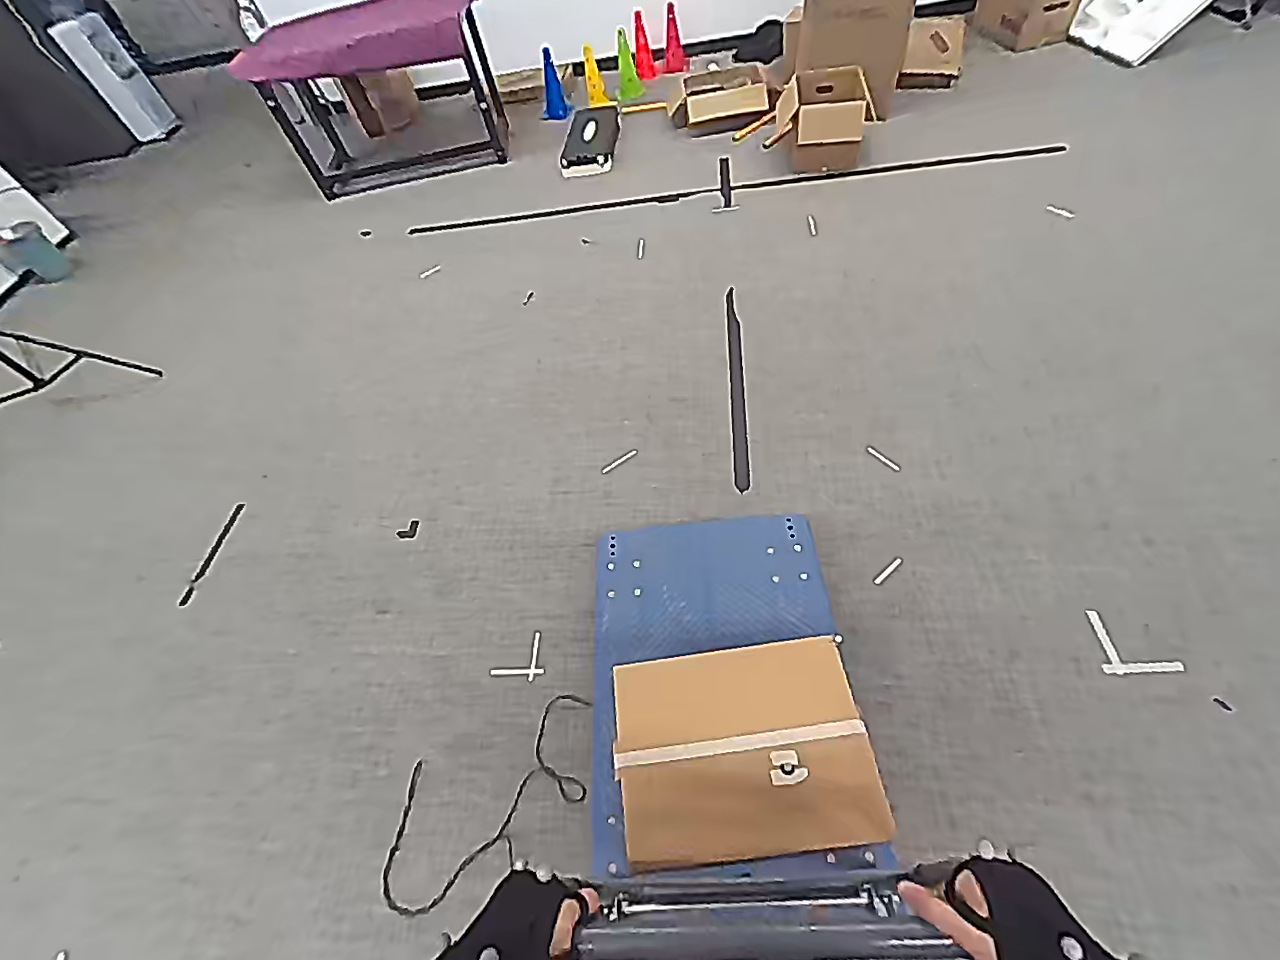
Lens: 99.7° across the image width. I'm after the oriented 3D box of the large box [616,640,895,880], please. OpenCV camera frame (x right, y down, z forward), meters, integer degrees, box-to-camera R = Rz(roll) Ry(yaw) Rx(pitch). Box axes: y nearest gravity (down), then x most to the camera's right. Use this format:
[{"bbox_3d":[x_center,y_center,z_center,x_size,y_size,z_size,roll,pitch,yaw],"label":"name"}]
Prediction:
[{"bbox_3d":[0.185,0.531,1.011,0.408,0.320,0.320,-9,54,2],"label":"large box"}]
